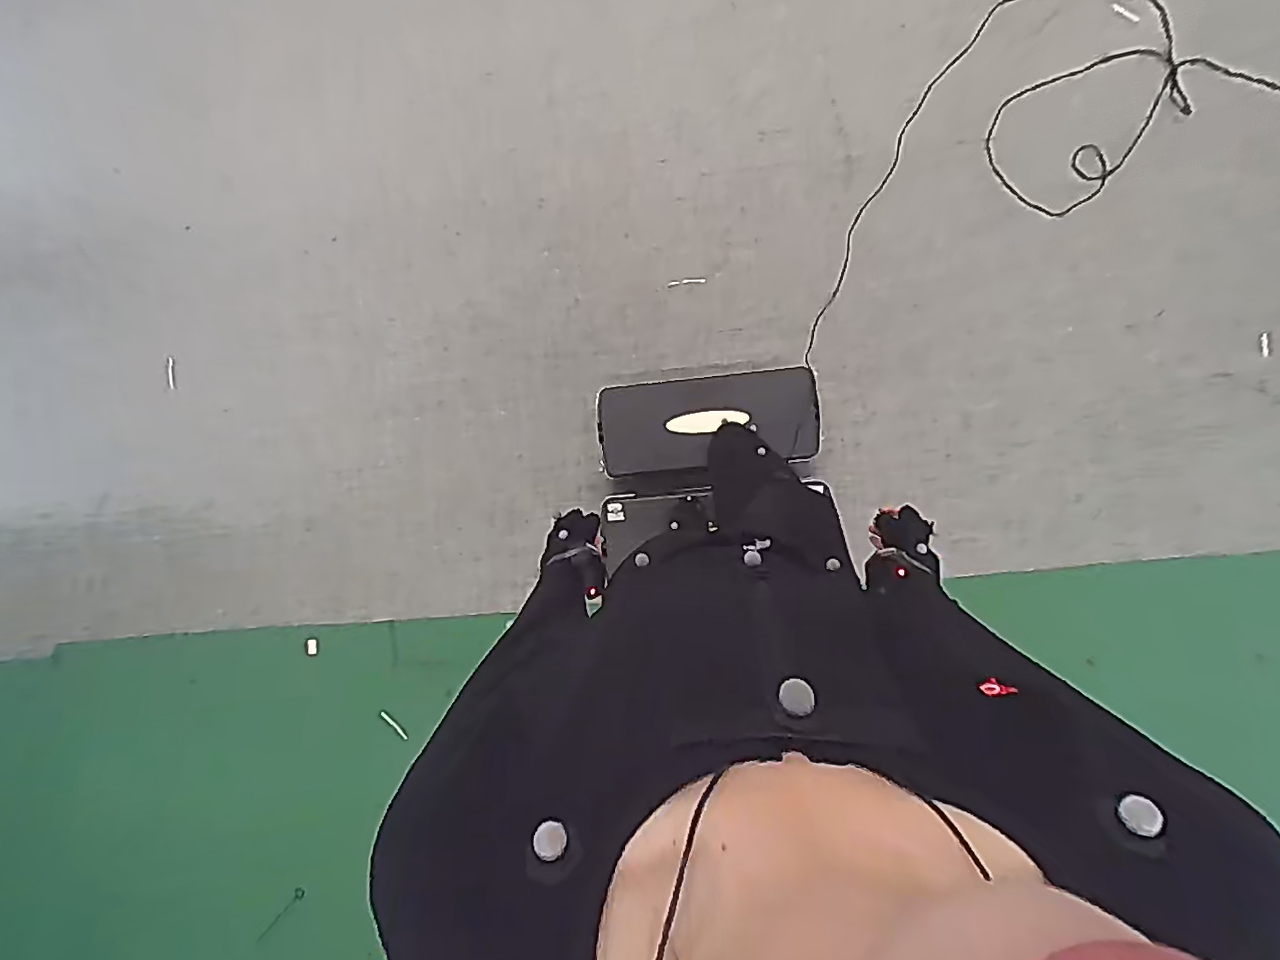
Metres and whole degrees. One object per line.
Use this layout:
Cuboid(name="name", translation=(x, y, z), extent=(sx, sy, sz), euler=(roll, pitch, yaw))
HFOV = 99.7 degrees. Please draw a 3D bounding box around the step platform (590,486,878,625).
Cuboid(name="step platform", translation=(0.223, 0.185, 1.382), extent=(0.684, 0.204, 0.286), euler=(-5, 88, 2))
